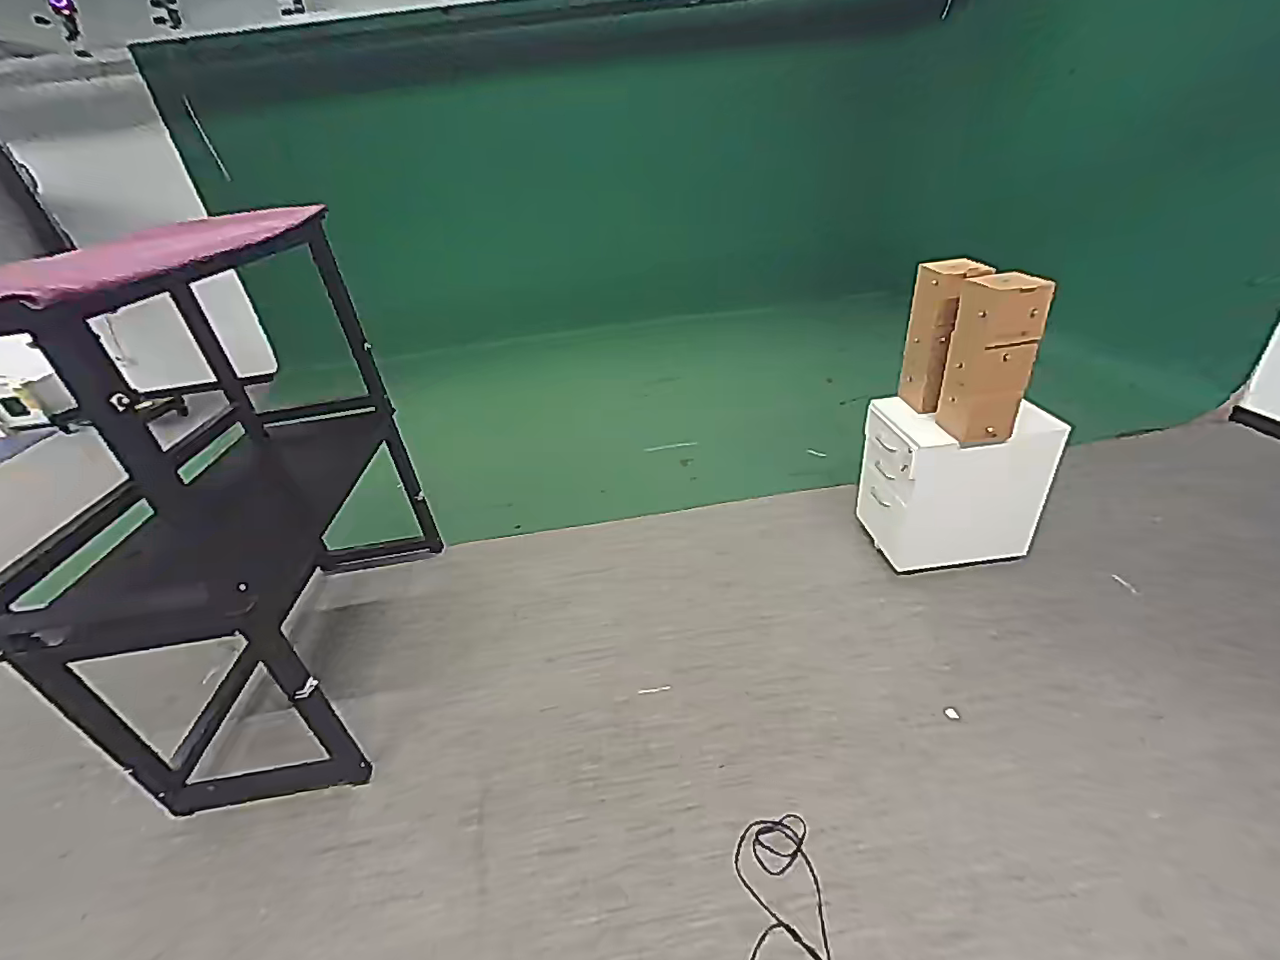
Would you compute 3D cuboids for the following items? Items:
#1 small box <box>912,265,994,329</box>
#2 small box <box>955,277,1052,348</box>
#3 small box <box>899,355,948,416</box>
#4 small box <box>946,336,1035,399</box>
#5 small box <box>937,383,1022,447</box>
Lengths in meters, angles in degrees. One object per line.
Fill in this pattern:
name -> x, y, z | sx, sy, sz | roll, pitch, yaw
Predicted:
small box -> 1.064, -0.629, 1.854 | 0.168, 0.176, 0.179 | -7, 33, 0
small box -> 1.098, -0.506, 1.647 | 0.168, 0.176, 0.179 | -8, 30, -1
small box -> 1.098, -0.354, 2.027 | 0.168, 0.176, 0.179 | -8, 33, 0
small box -> 1.114, -0.371, 1.738 | 0.179, 0.176, 0.168 | -9, 32, -3
small box -> 1.129, -0.227, 1.817 | 0.168, 0.176, 0.179 | -7, 31, 0
